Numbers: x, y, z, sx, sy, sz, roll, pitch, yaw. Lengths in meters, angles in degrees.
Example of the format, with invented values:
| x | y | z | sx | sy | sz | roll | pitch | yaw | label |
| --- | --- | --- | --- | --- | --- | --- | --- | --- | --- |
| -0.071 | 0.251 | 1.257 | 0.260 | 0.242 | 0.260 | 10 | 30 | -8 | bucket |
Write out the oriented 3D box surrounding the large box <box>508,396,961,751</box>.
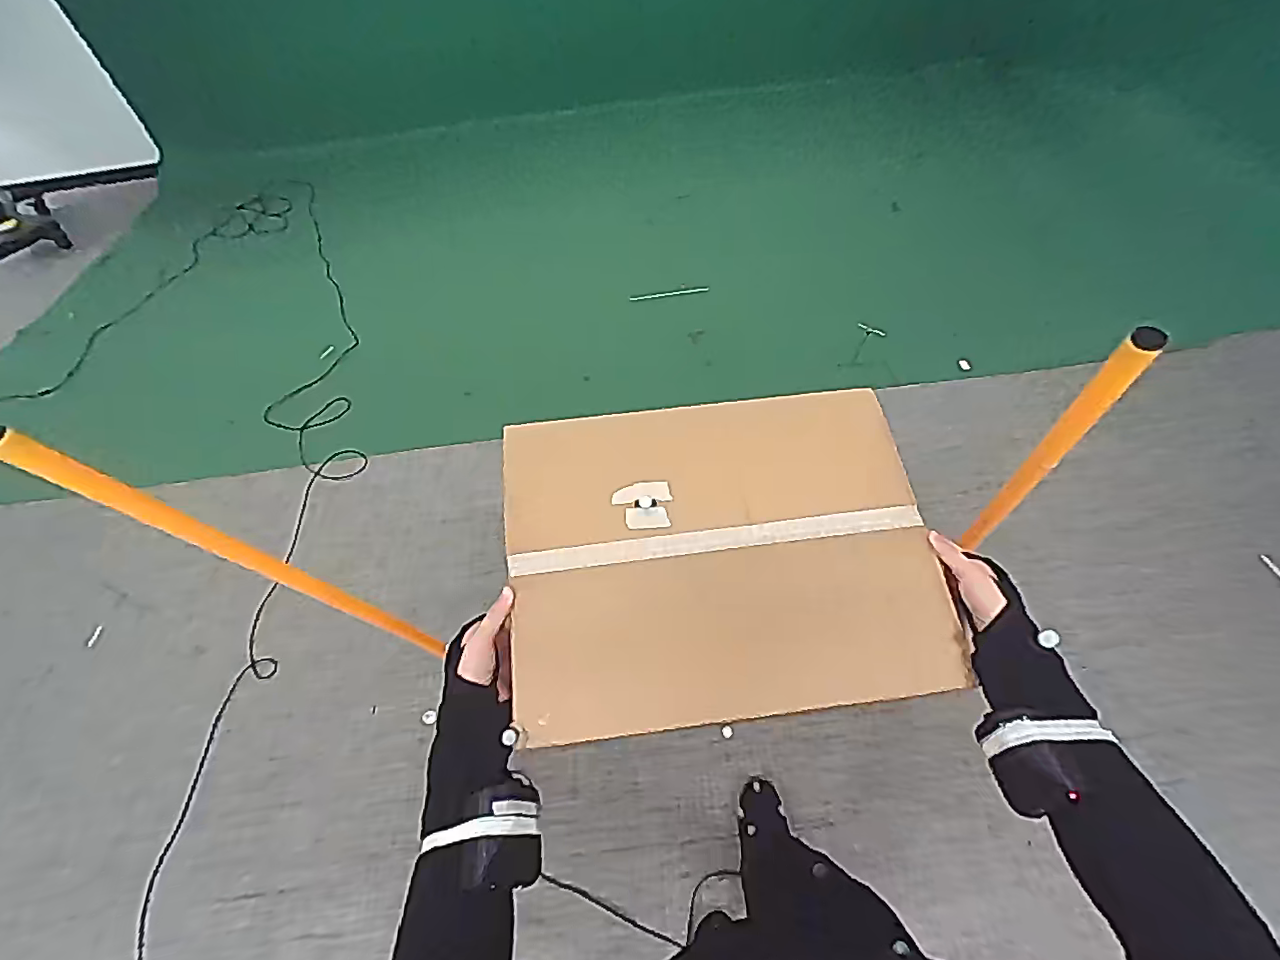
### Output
| x | y | z | sx | sy | sz | roll | pitch | yaw | label |
| --- | --- | --- | --- | --- | --- | --- | --- | --- | --- |
| 0.078 | 0.131 | 0.672 | 0.408 | 0.320 | 0.320 | -8 | 64 | -2 | large box |
